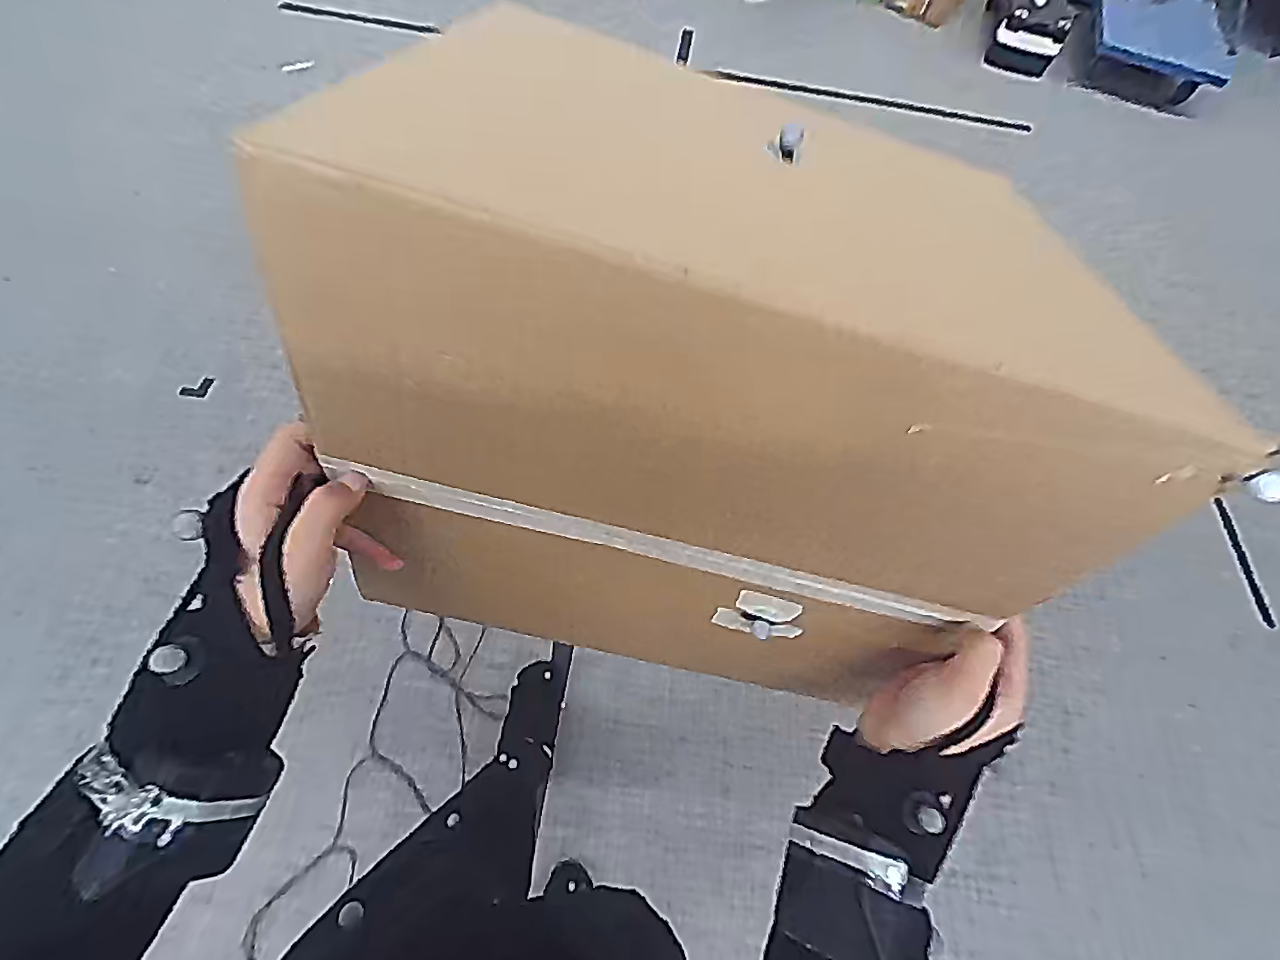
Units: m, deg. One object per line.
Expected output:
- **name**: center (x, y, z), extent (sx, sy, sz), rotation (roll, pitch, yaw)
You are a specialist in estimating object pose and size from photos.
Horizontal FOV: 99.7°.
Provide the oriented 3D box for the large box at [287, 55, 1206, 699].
- **large box**: center (0.038, -0.069, 0.427), extent (0.408, 0.320, 0.320), rotation (14, 48, -7)
